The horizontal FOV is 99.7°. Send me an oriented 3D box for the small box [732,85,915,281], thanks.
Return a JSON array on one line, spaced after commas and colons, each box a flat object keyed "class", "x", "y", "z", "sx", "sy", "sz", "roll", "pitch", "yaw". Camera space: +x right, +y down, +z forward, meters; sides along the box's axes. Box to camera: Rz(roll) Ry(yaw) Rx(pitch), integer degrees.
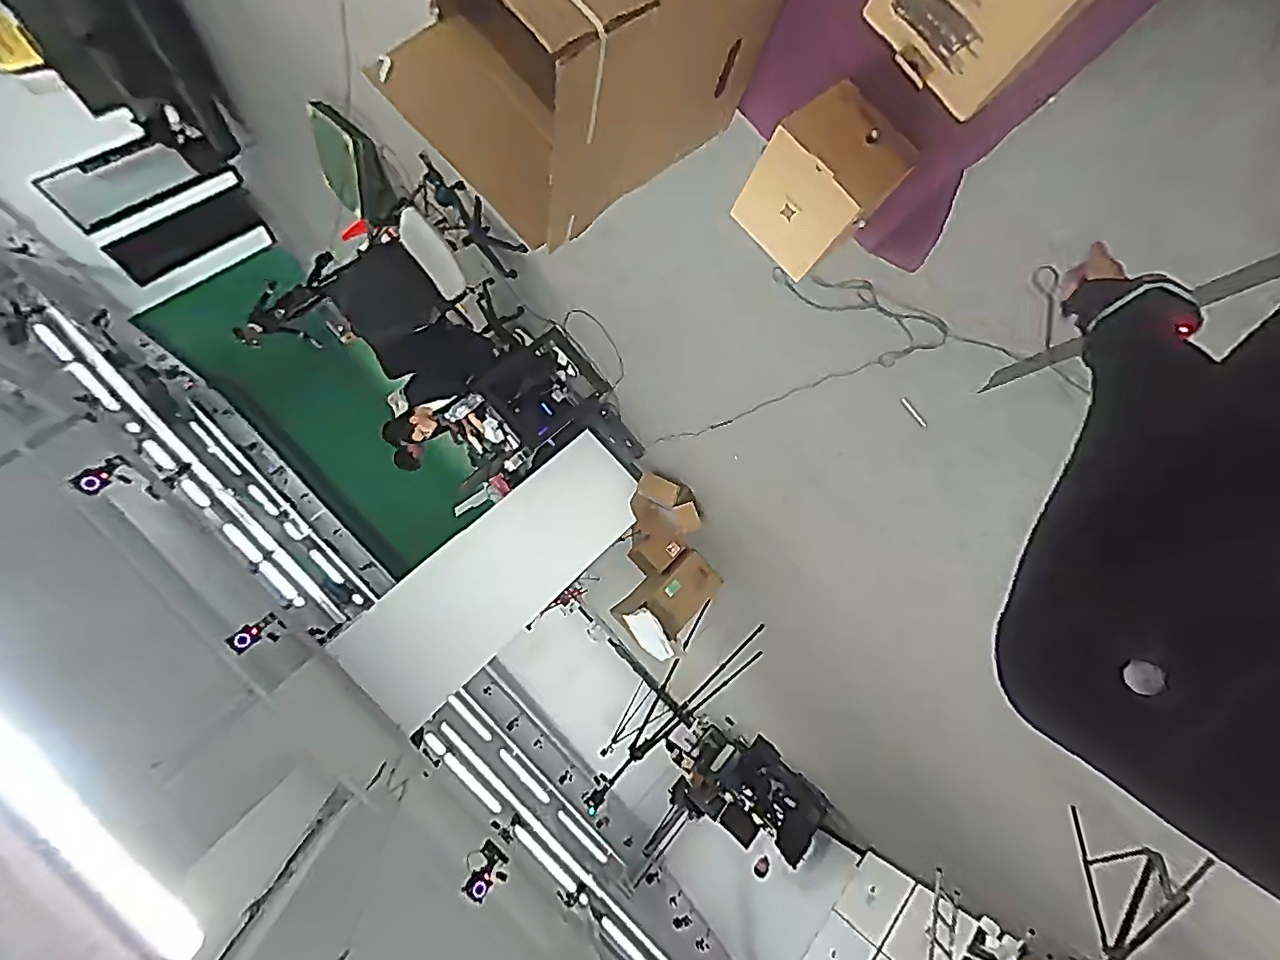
[{"class": "small box", "x": 0.283, "y": -0.458, "z": 0.845, "sx": 0.168, "sy": 0.176, "sz": 0.179, "roll": 47, "pitch": 159, "yaw": 2}]
